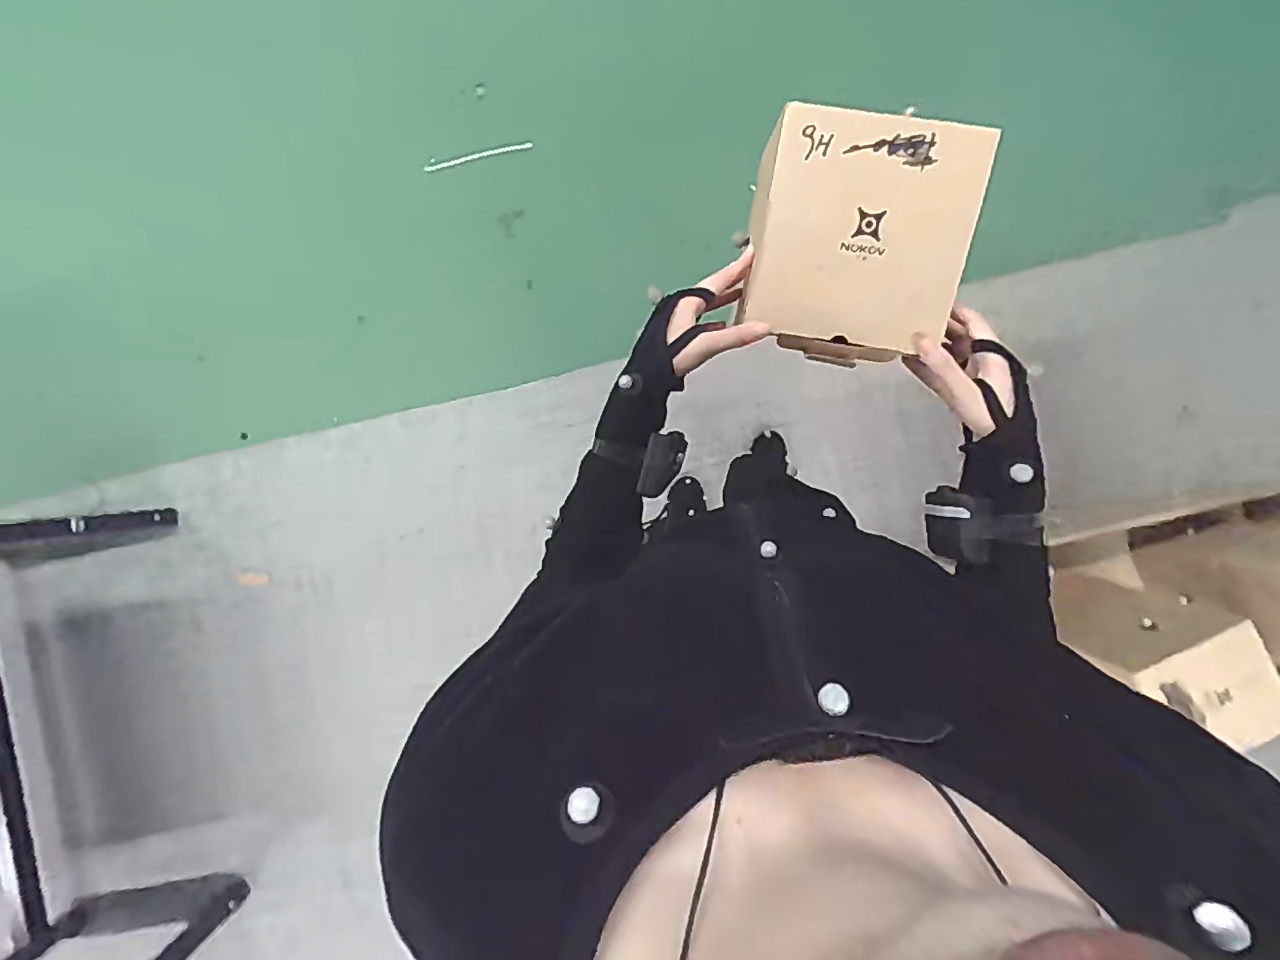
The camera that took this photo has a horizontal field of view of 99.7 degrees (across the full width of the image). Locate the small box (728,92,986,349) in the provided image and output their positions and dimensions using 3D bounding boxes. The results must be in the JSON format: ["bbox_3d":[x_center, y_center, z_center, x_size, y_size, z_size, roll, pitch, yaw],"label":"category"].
[{"bbox_3d":[0.181,-0.233,0.518,0.168,0.176,0.179,9,109,2],"label":"small box"}]

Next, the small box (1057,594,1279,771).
[{"bbox_3d":[0.794,0.297,0.829,0.179,0.176,0.168,-27,91,2],"label":"small box"}]
